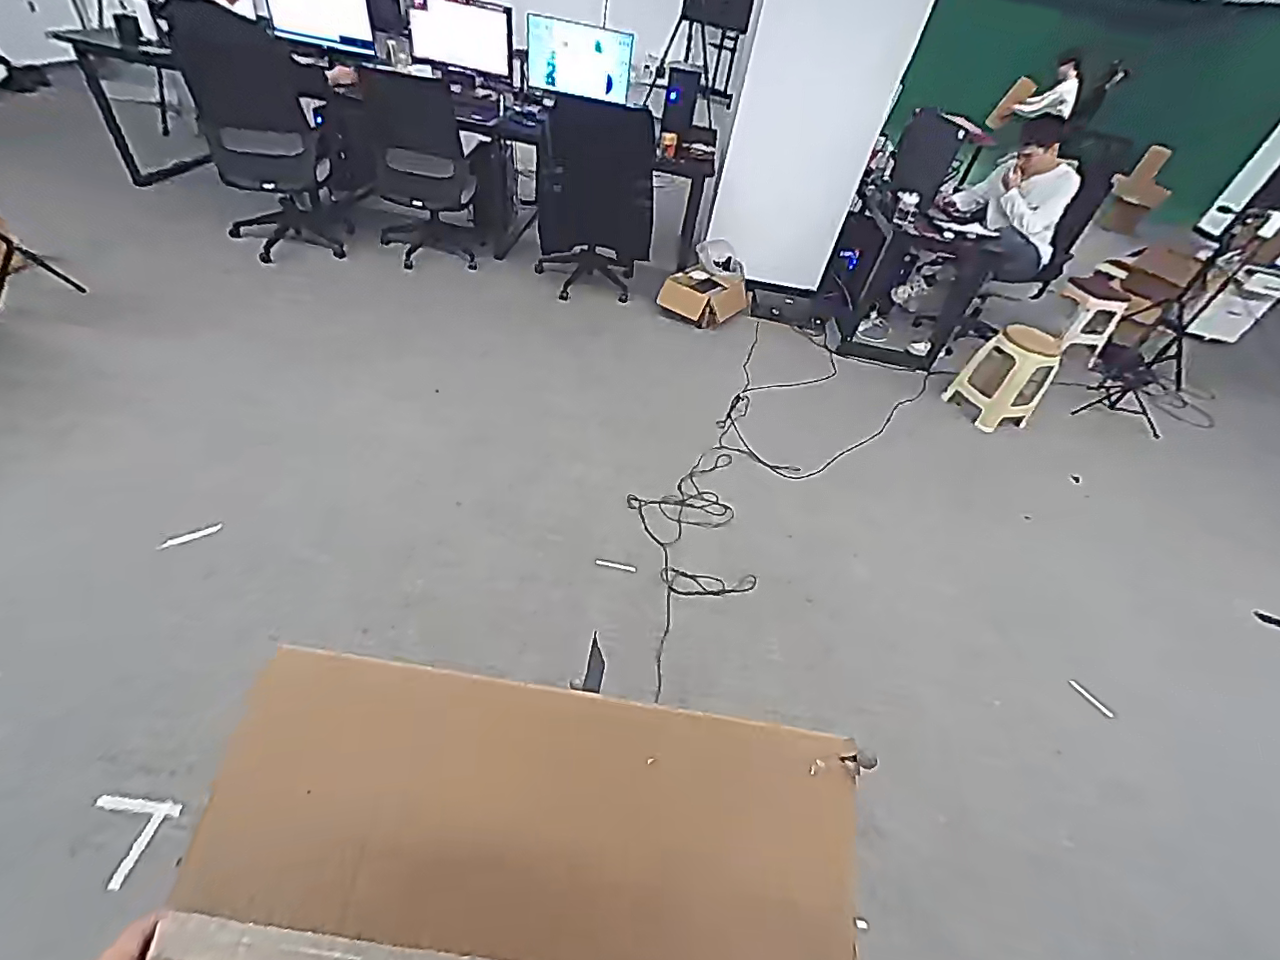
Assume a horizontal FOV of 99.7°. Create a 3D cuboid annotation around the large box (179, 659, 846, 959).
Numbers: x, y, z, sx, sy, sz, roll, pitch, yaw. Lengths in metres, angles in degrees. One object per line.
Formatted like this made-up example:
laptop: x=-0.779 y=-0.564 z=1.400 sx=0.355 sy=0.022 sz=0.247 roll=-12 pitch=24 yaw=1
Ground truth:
large box: x=-0.085 y=0.352 z=0.462 sx=0.408 sy=0.320 sz=0.320 roll=10 pitch=67 yaw=-2
